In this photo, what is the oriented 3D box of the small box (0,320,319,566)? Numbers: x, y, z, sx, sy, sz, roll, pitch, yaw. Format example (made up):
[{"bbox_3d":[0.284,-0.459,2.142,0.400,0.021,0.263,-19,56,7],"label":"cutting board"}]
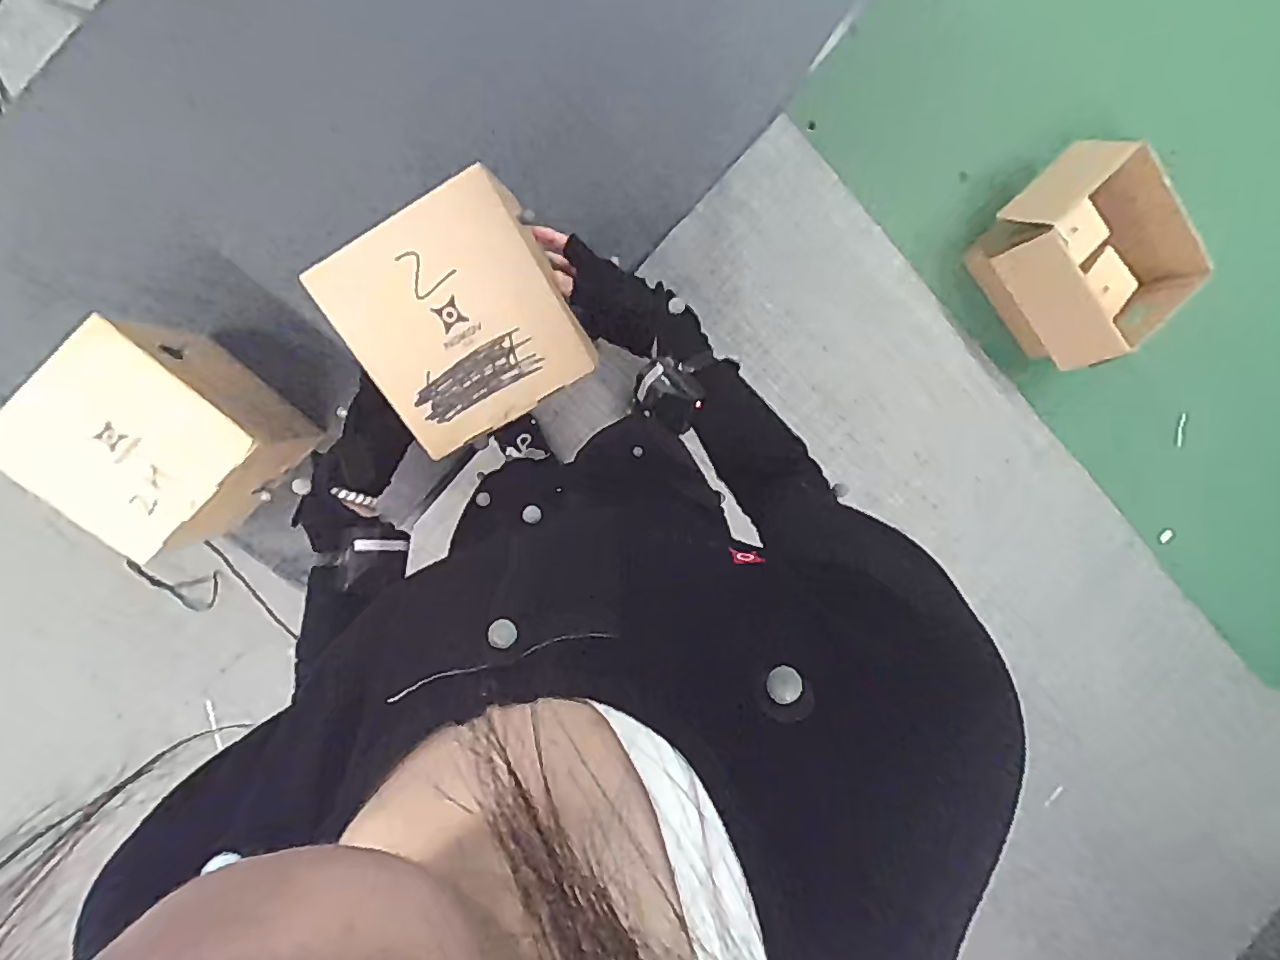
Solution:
[{"bbox_3d":[-0.499,-0.040,0.582,0.179,0.176,0.168,43,89,-12],"label":"small box"}]
